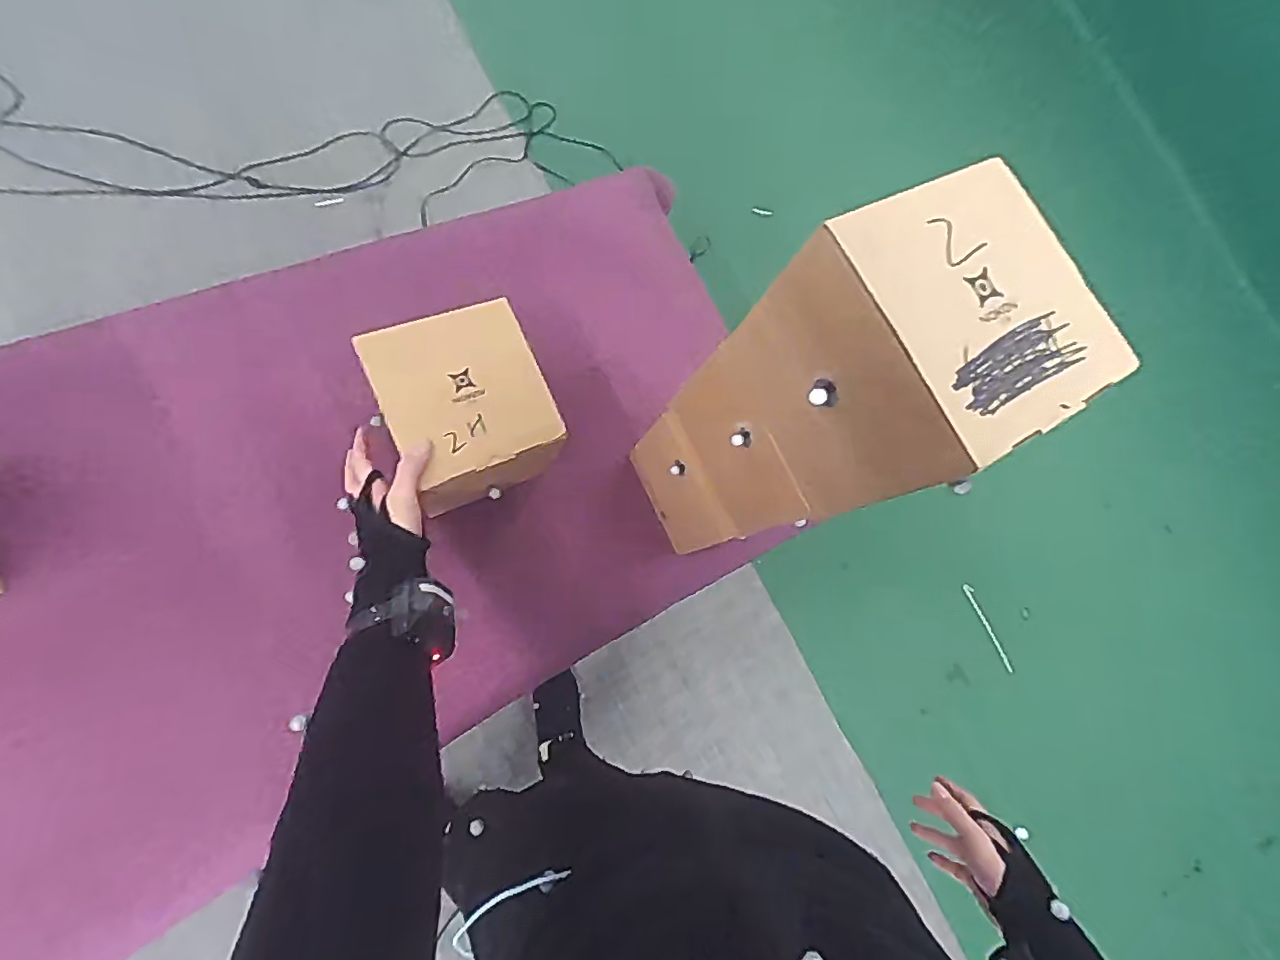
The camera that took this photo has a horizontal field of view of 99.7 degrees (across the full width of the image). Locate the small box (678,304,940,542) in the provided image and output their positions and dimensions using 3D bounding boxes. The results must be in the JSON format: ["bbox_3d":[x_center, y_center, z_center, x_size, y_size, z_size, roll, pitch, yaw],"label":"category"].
[{"bbox_3d":[0.162,-0.051,0.575,0.168,0.176,0.179,-23,83,-19],"label":"small box"}]

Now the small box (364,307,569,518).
[{"bbox_3d":[-0.204,-0.072,0.646,0.168,0.176,0.179,-22,85,-20],"label":"small box"}]
